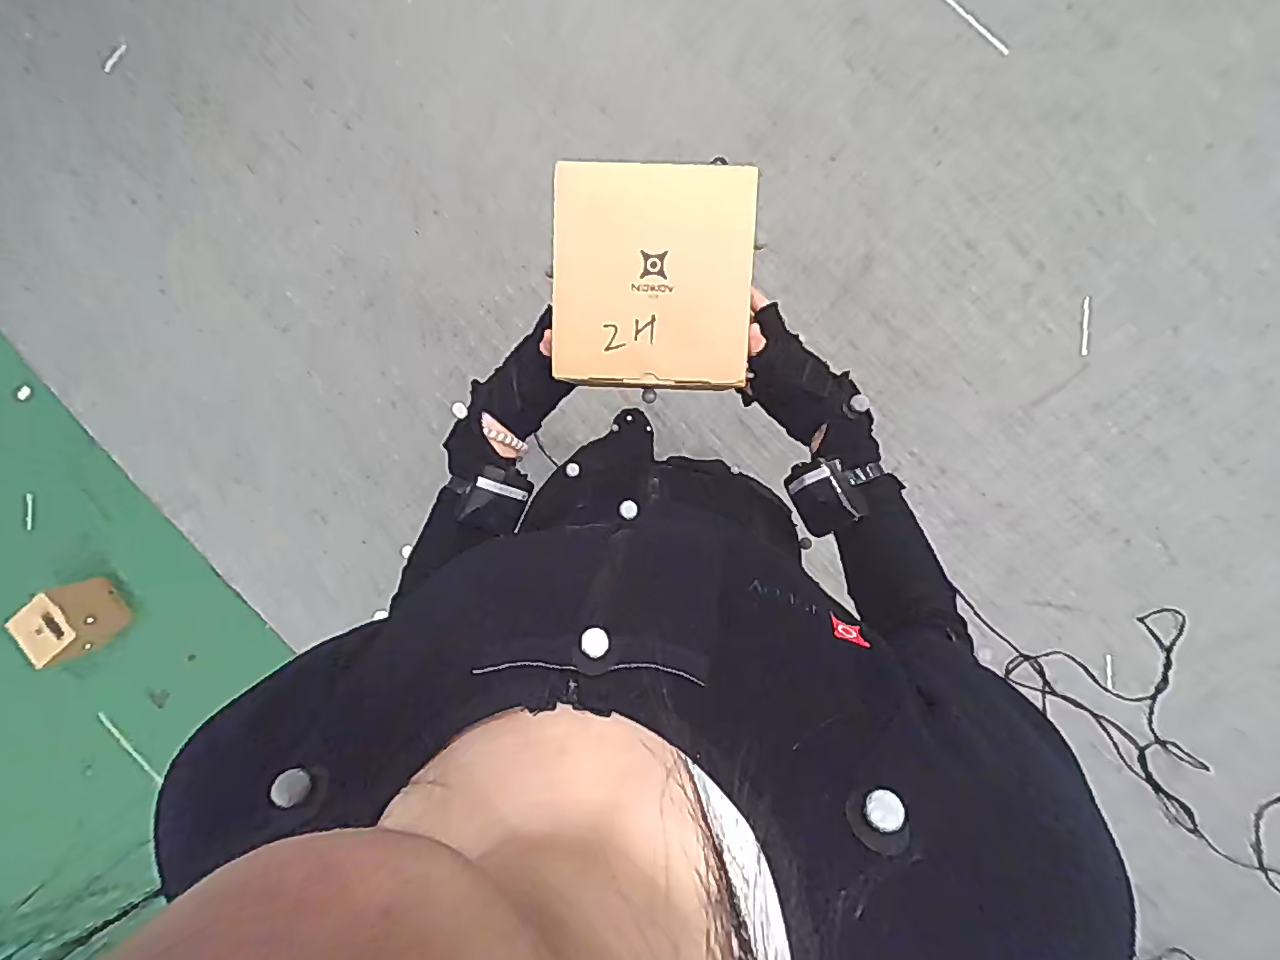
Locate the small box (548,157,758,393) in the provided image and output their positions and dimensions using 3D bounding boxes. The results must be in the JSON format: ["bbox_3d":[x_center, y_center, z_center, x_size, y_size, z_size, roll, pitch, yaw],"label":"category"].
[{"bbox_3d":[0.010,-0.178,0.519,0.168,0.176,0.179,3,98,1],"label":"small box"}]
